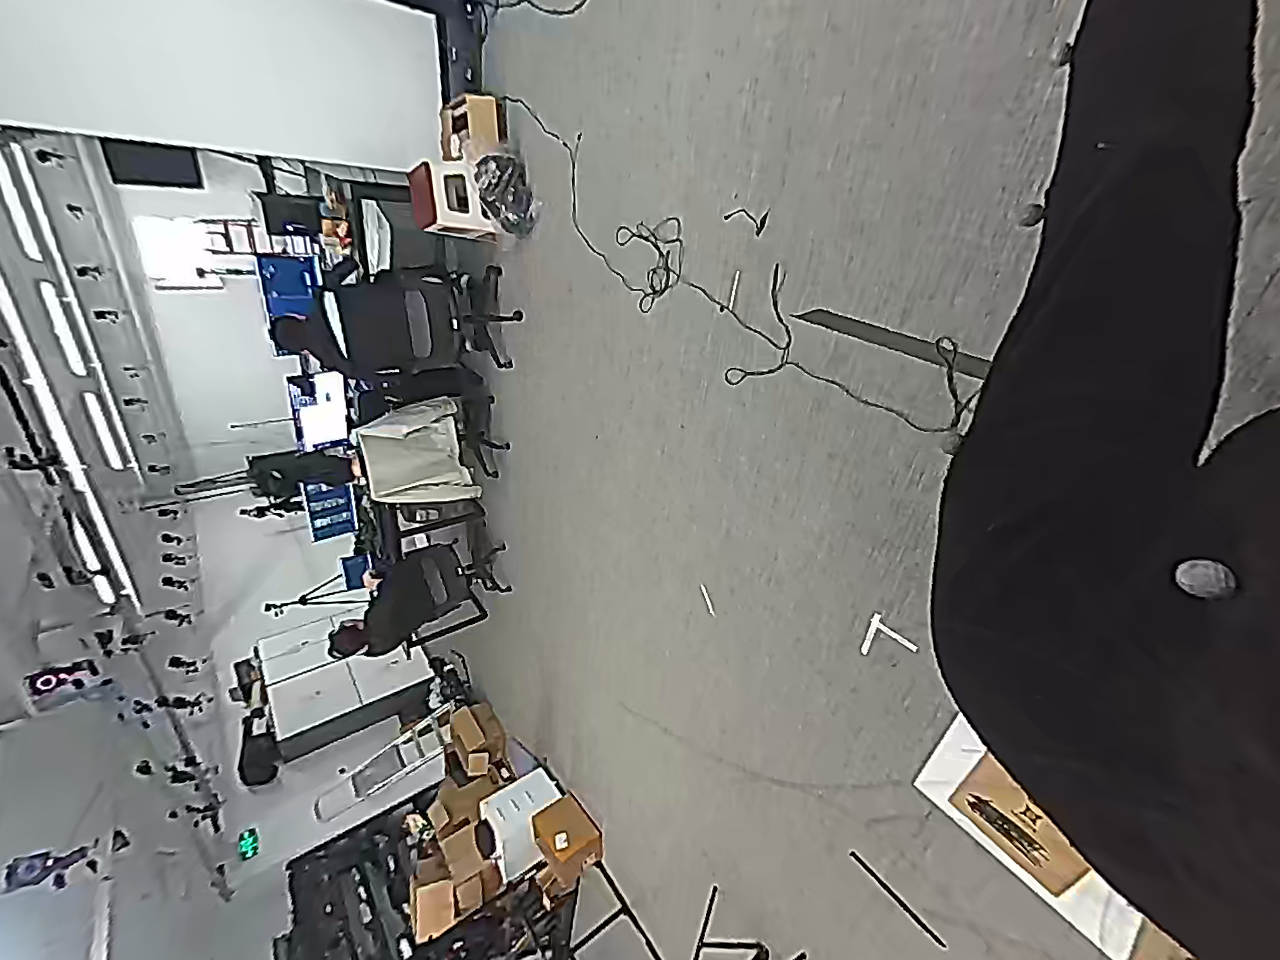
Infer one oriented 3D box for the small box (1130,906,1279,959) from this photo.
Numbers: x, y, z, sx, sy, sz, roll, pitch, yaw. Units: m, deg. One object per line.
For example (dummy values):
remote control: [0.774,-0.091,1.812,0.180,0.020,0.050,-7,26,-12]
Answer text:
small box: [0.635,0.612,0.572,0.168,0.176,0.179,37,131,41]
